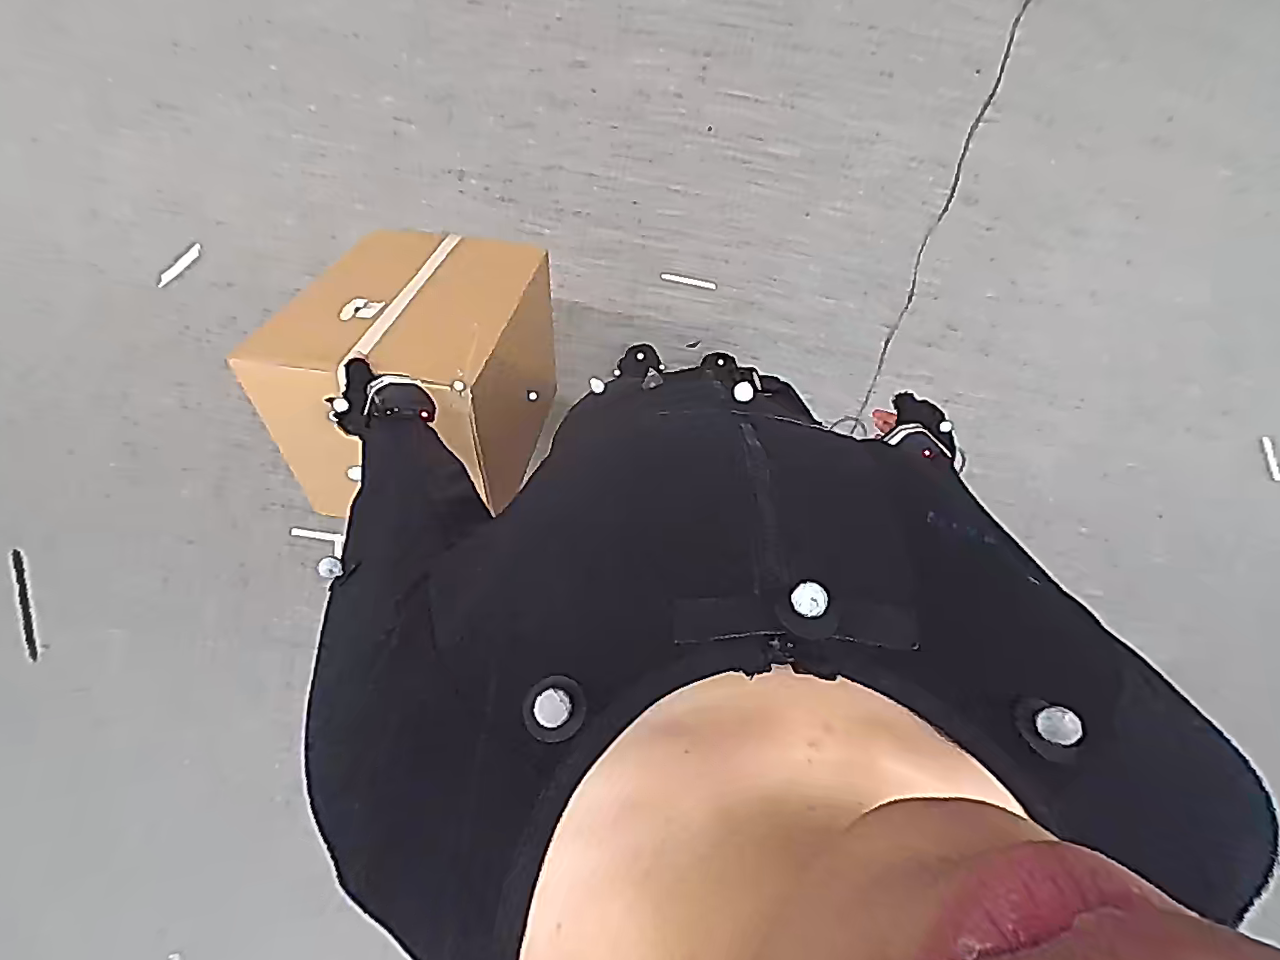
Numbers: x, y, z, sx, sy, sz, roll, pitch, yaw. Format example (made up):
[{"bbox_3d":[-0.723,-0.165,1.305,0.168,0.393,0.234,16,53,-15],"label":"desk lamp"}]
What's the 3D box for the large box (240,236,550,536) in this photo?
[{"bbox_3d":[-0.353,-0.167,0.931,0.320,0.408,0.320,7,138,3],"label":"large box"}]
